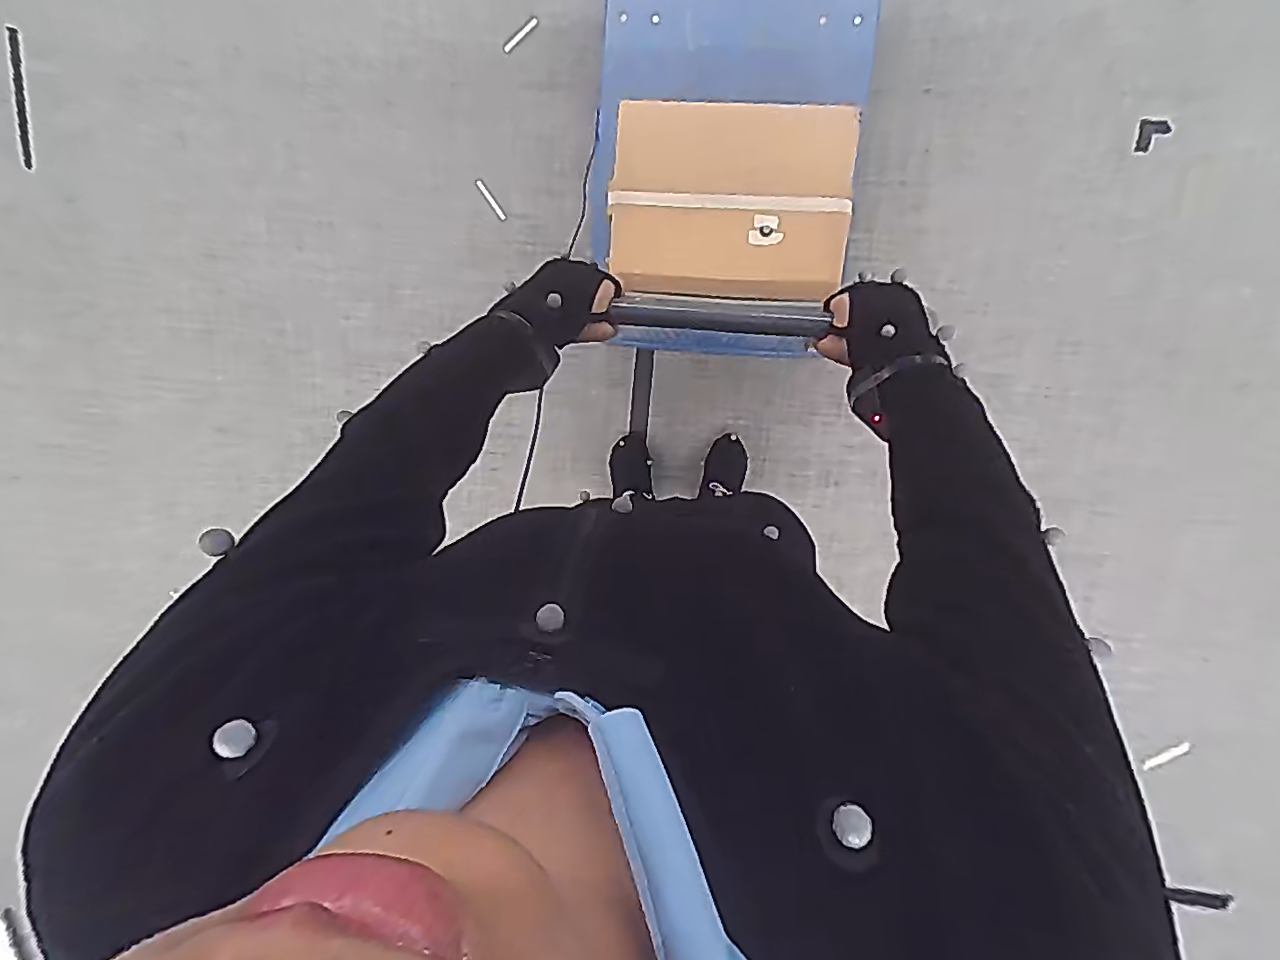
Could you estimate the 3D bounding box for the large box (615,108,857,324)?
[{"bbox_3d":[0.171,-0.499,1.088,0.408,0.320,0.320,5,99,5],"label":"large box"}]
